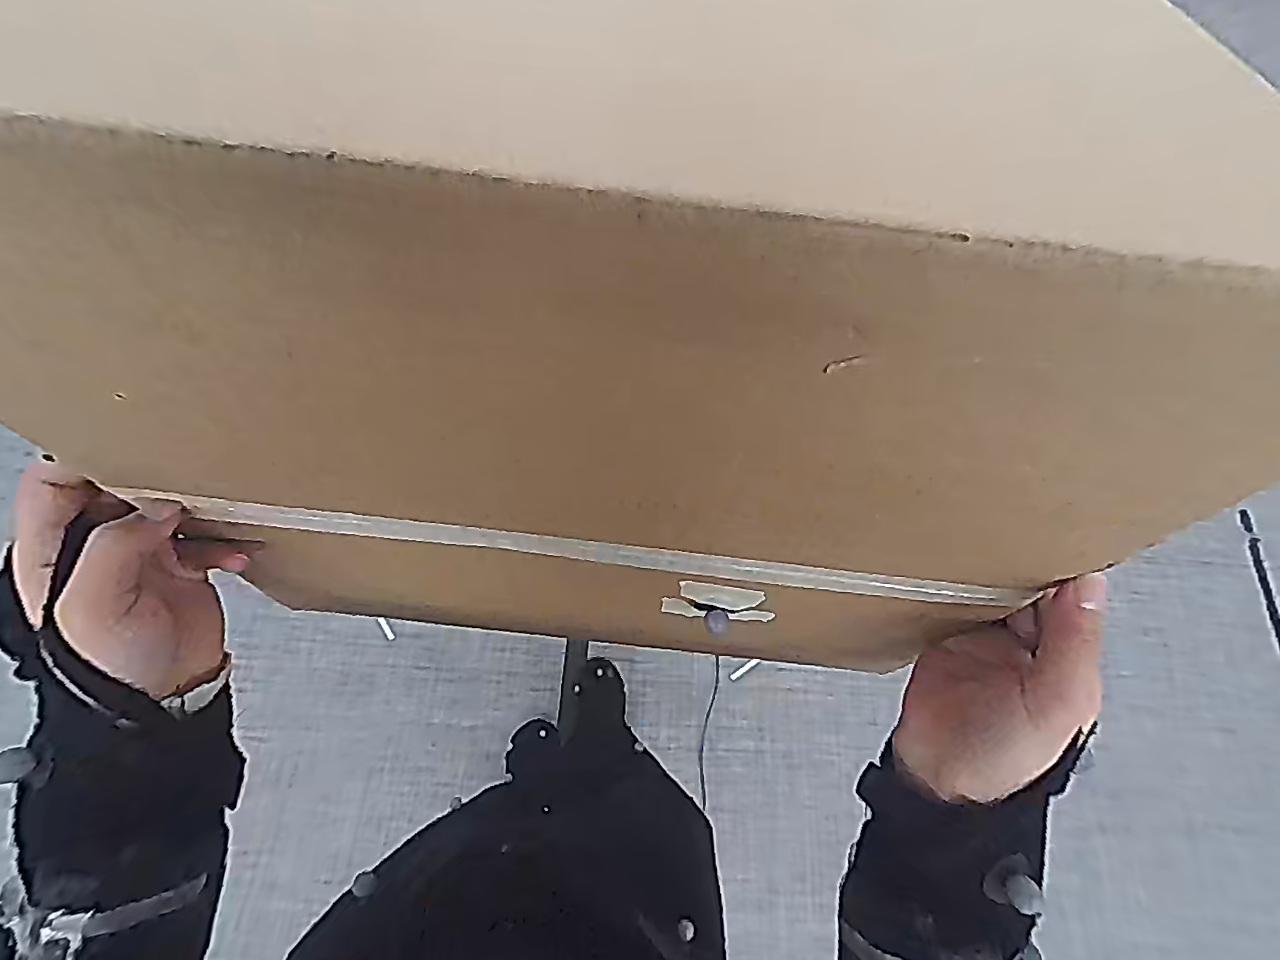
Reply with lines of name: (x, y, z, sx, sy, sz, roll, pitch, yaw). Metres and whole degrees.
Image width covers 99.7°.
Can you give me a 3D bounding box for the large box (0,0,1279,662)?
large box: (-0.012, -0.100, 0.326, 0.408, 0.320, 0.320, 6, 59, -1)
